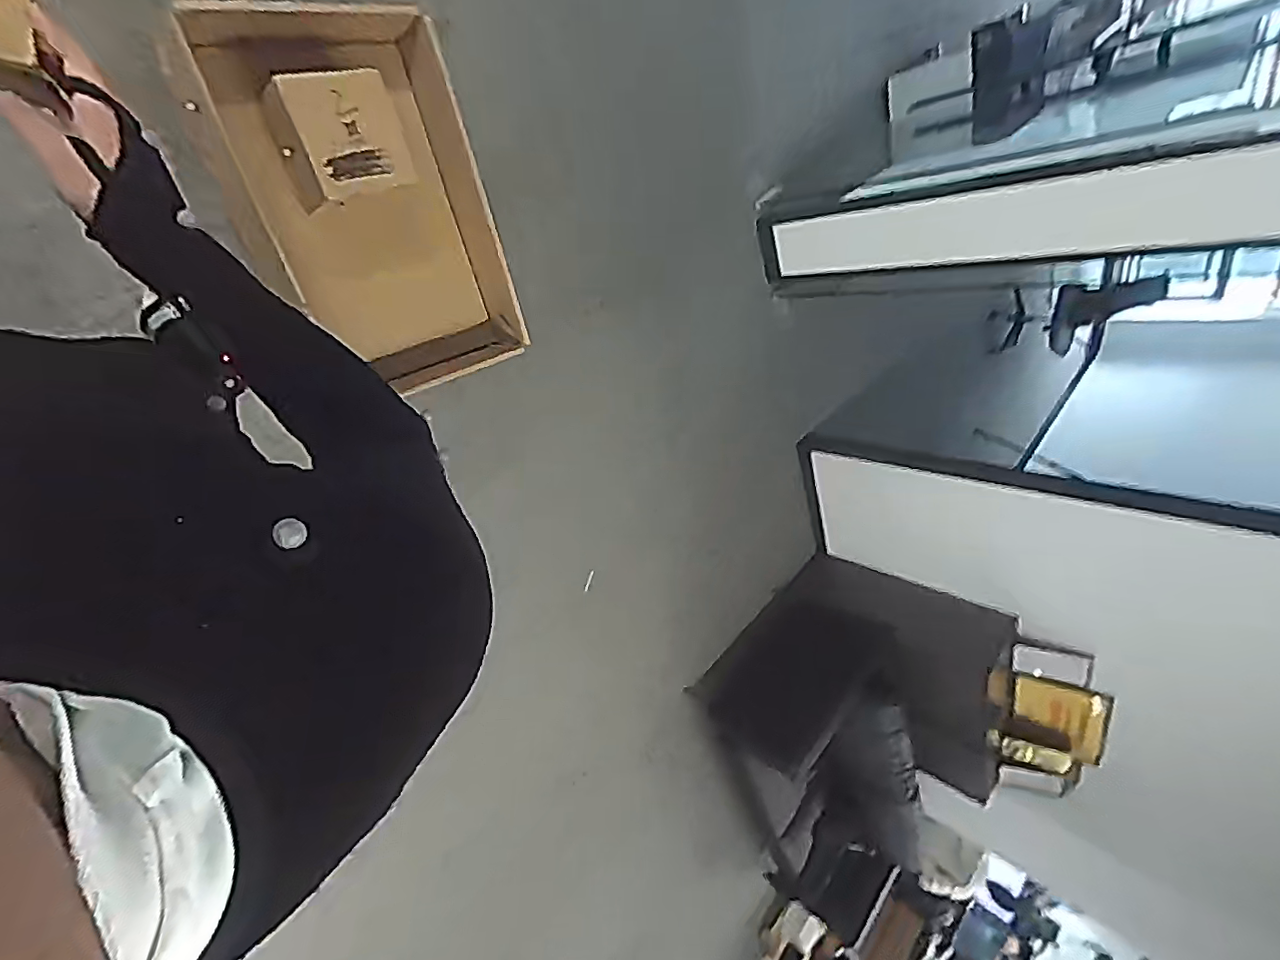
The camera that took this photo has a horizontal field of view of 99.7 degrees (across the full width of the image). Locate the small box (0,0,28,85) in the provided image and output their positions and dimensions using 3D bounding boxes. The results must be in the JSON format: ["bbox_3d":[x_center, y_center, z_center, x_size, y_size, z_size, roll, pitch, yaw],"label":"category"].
[{"bbox_3d":[-0.561,-0.411,0.372,0.168,0.176,0.179,-5,112,-43],"label":"small box"}]
